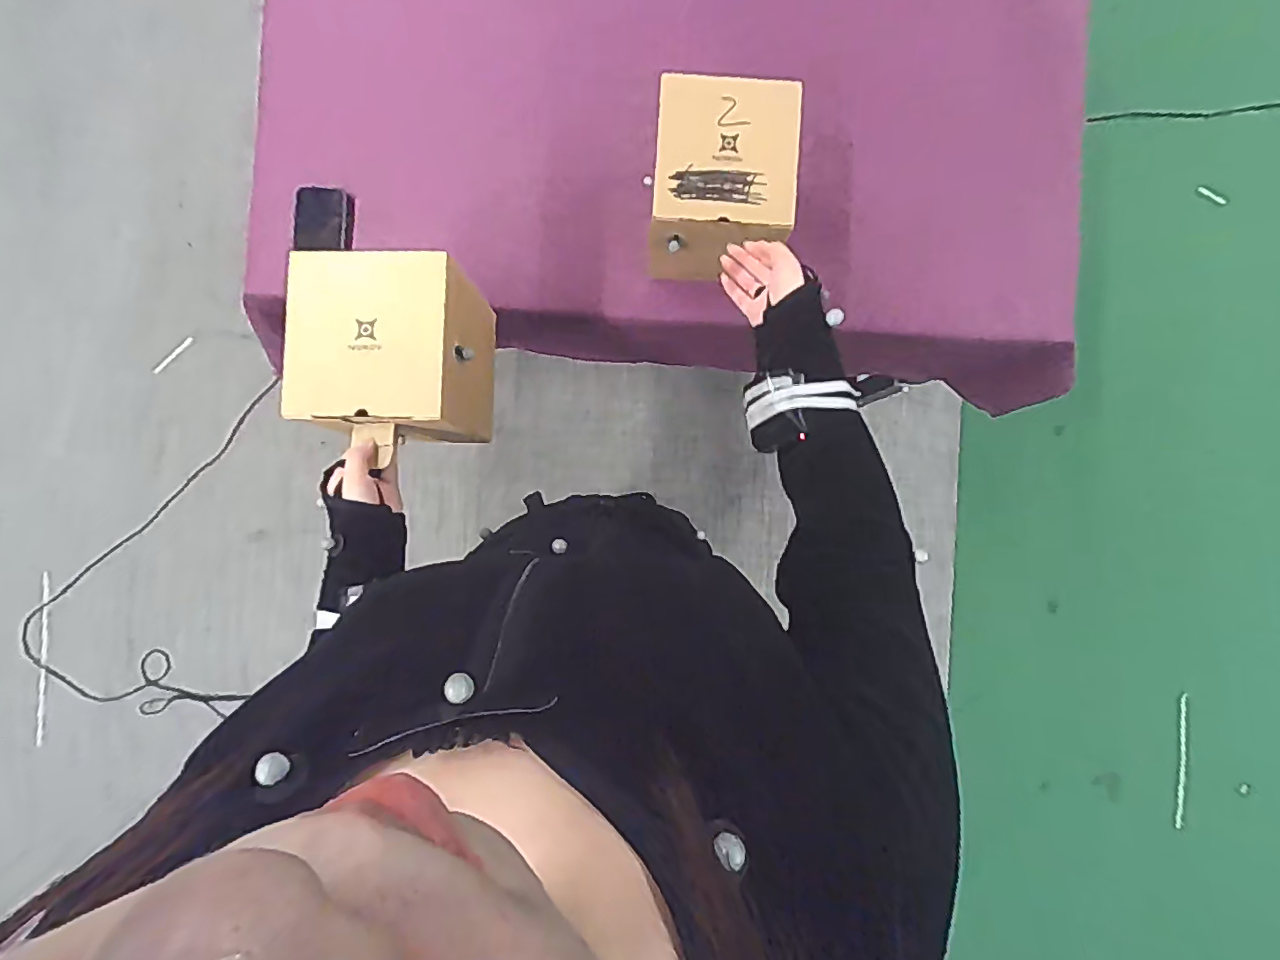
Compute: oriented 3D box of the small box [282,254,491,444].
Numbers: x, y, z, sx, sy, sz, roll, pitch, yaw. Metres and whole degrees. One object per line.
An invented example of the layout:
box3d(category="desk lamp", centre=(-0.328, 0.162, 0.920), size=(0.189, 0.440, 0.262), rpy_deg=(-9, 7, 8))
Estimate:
box3d(category="small box", centre=(-0.280, -0.141, 0.636), size=(0.168, 0.176, 0.179), rpy_deg=(1, 87, 1))
